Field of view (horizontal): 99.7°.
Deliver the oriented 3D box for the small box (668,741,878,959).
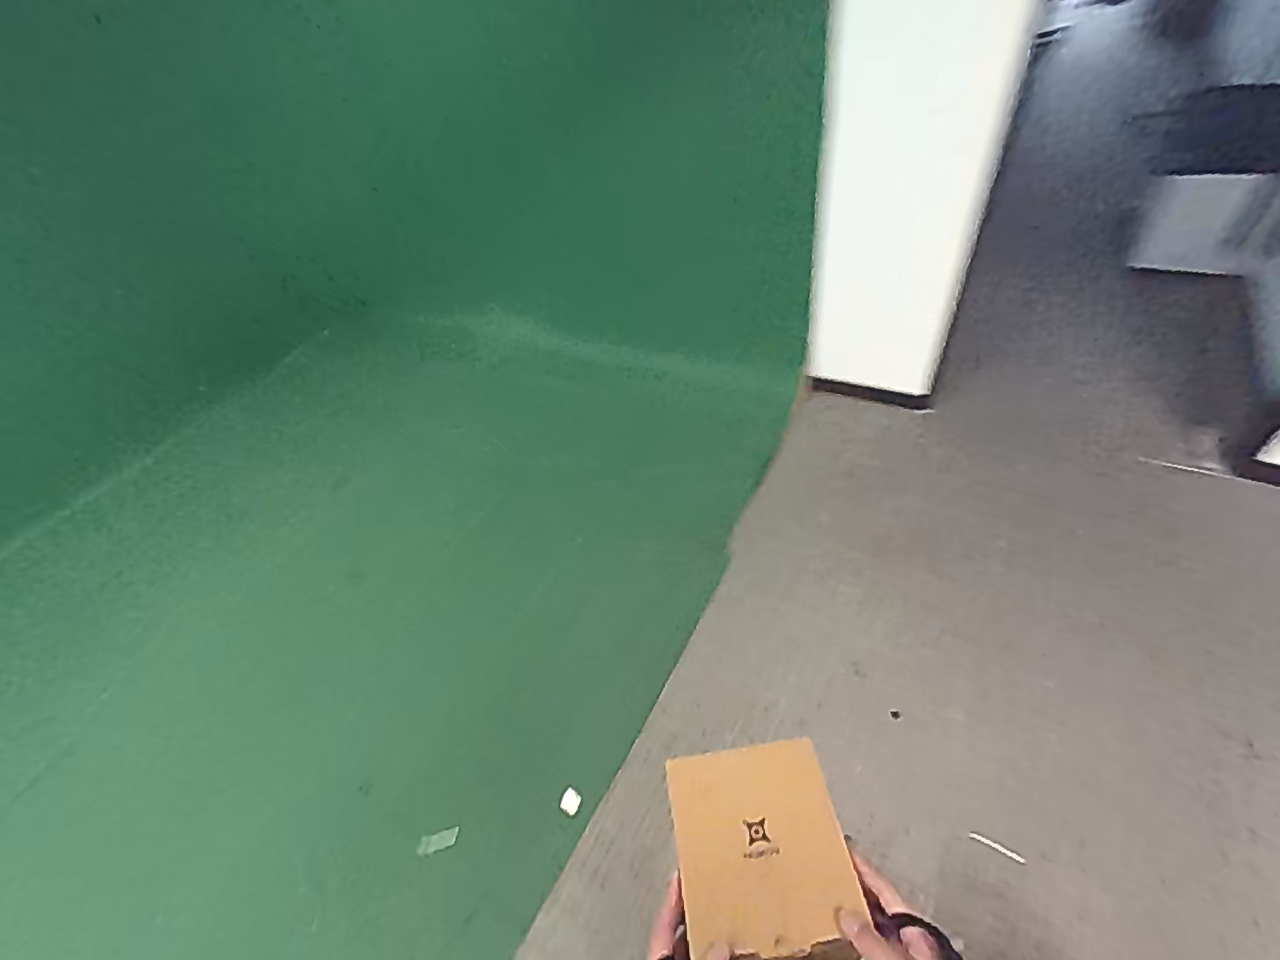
[{"bbox_3d":[0.127,0.417,0.586,0.168,0.176,0.179,-10,41,-1],"label":"small box"}]
